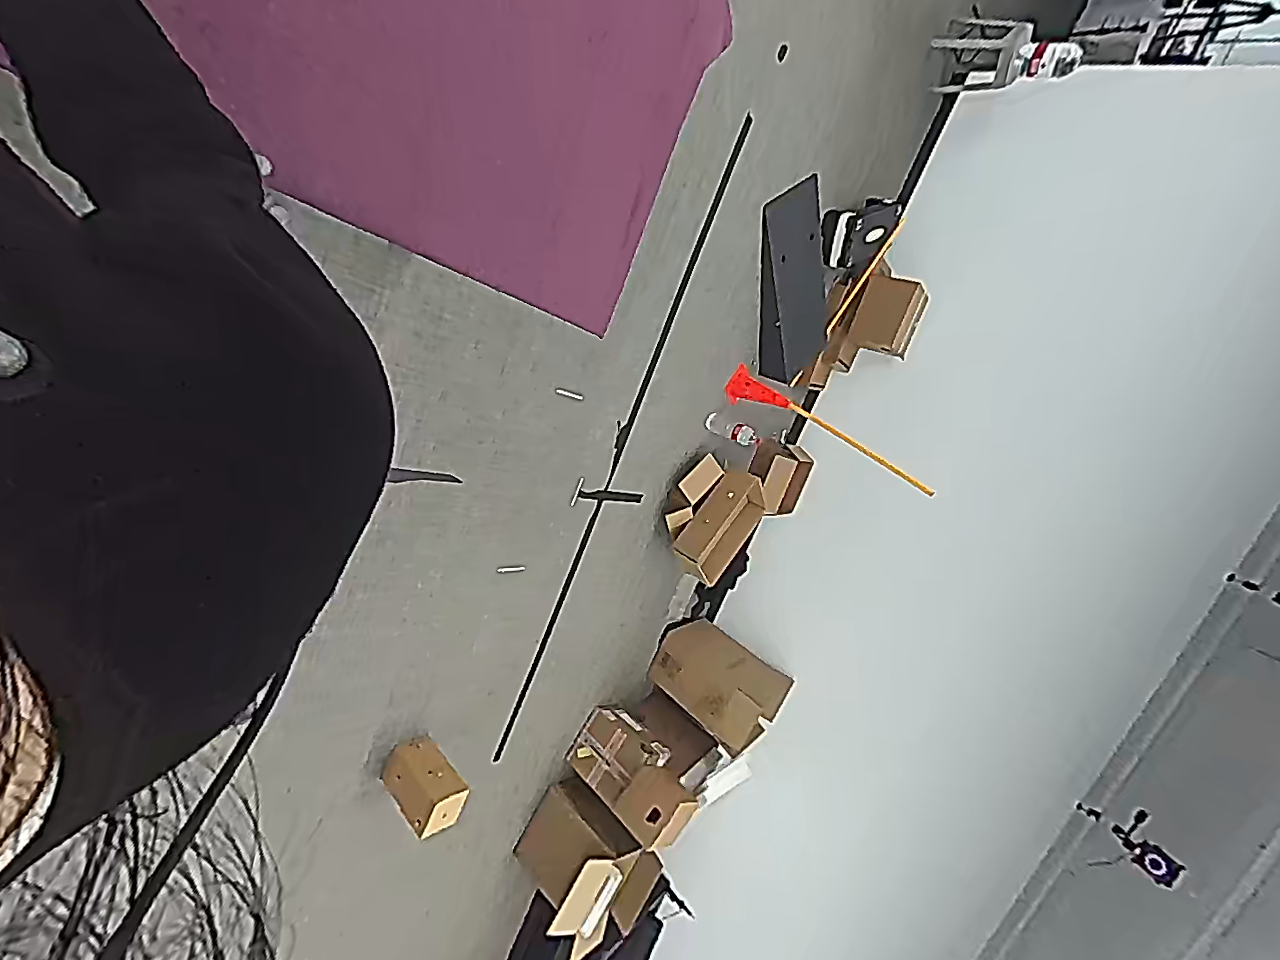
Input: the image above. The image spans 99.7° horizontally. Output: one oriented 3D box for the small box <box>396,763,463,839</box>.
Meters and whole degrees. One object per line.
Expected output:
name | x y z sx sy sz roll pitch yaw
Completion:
small box | -0.861 1.297 2.196 0.168 0.176 0.179 13 103 -58
